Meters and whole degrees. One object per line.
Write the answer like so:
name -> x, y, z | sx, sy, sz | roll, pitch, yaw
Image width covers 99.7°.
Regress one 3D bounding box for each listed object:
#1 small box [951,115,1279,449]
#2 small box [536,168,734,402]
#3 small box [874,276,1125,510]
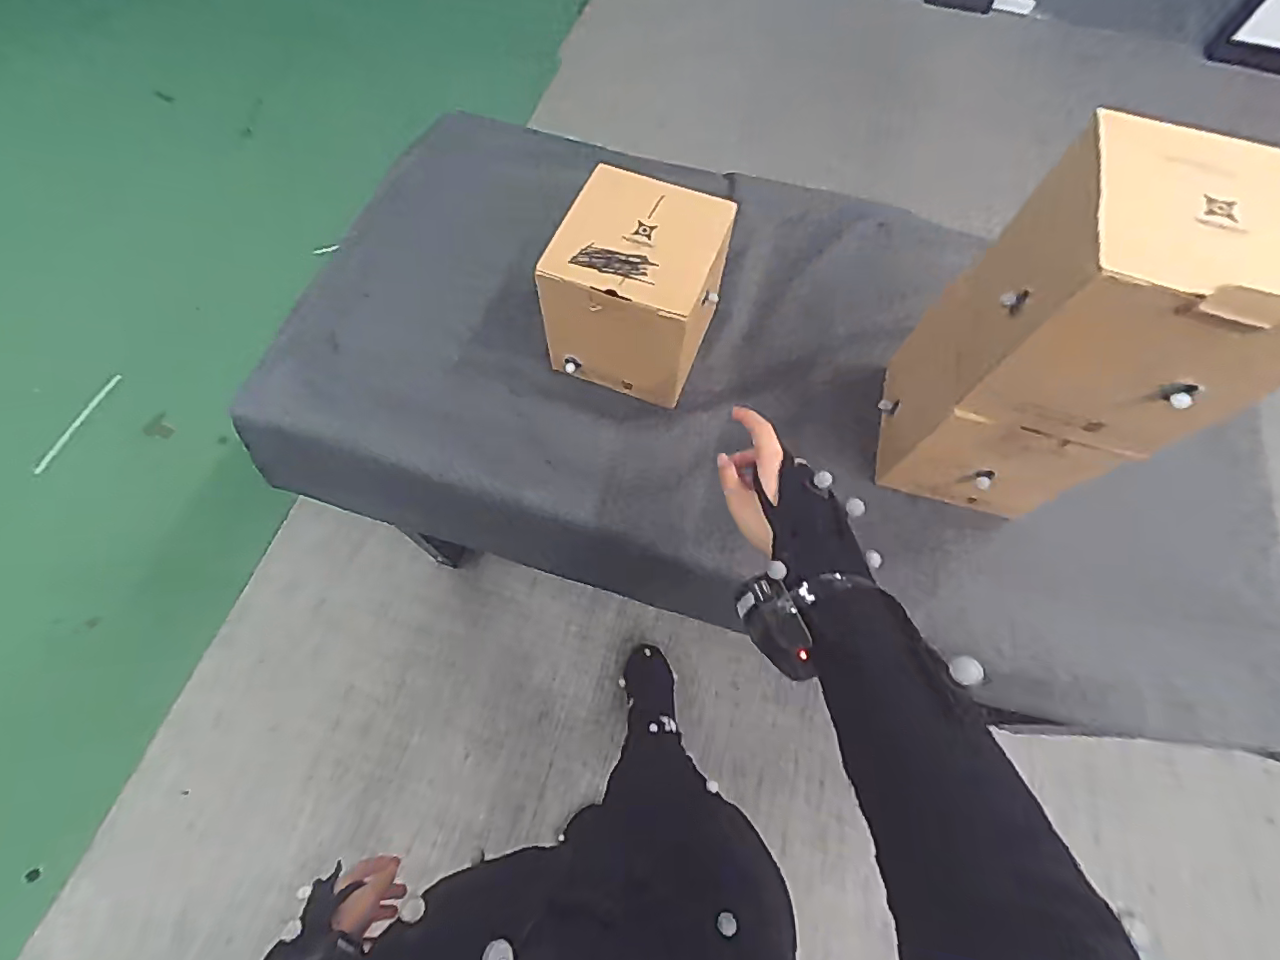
small box -> 0.387, -0.150, 0.447 | 0.168, 0.176, 0.179 | 18, 66, 5
small box -> -0.003, -0.221, 0.643 | 0.168, 0.176, 0.179 | 20, 66, 6
small box -> 0.377, -0.085, 0.596 | 0.168, 0.176, 0.179 | 15, 67, 4
